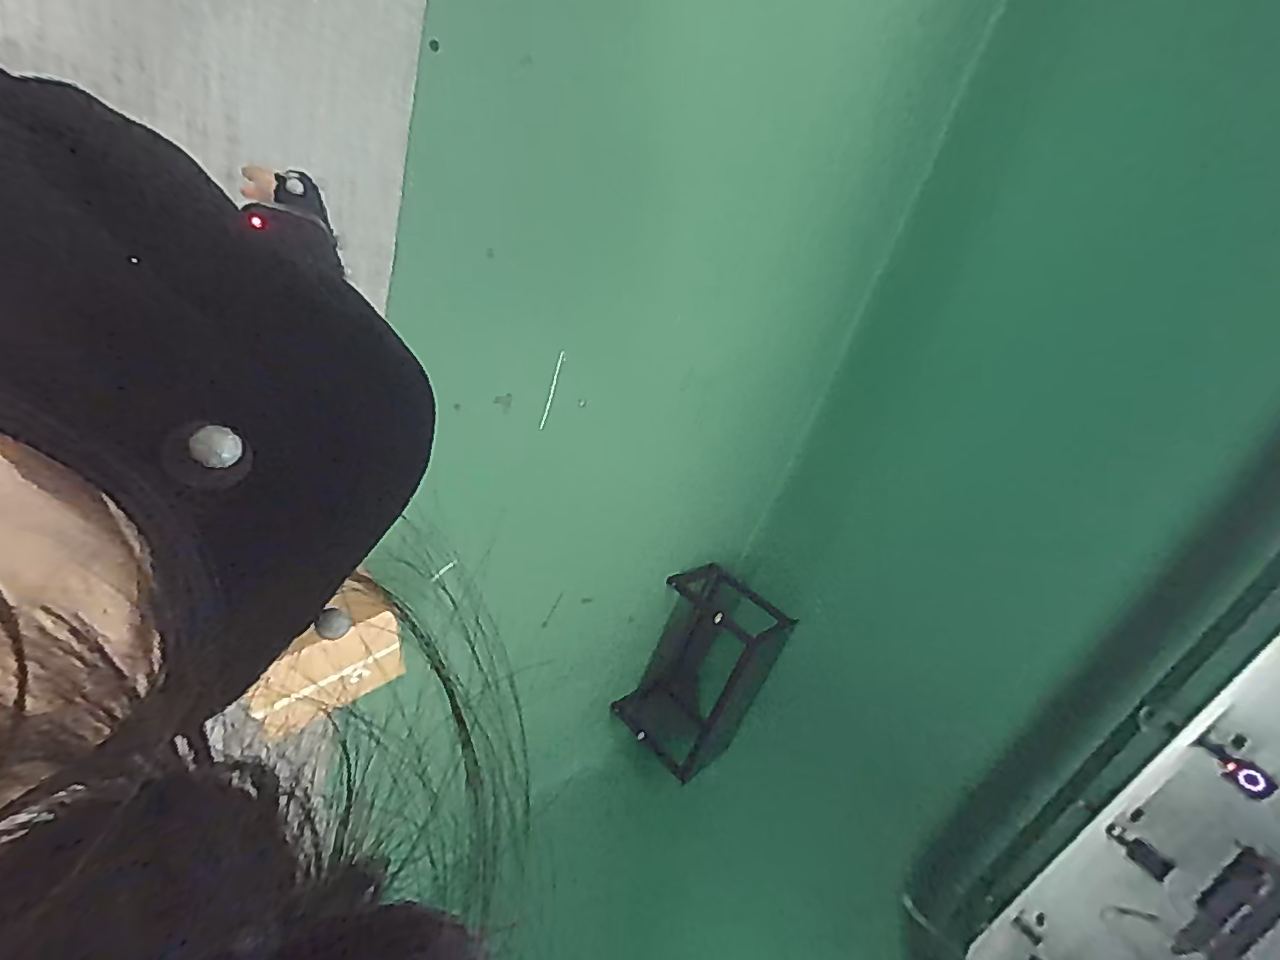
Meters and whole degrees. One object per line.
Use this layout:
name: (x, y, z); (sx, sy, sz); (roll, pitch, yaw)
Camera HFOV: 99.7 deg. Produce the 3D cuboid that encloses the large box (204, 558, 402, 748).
large box: (-1.010, 0.506, 1.652); (0.408, 0.320, 0.320); (-24, 136, -41)
